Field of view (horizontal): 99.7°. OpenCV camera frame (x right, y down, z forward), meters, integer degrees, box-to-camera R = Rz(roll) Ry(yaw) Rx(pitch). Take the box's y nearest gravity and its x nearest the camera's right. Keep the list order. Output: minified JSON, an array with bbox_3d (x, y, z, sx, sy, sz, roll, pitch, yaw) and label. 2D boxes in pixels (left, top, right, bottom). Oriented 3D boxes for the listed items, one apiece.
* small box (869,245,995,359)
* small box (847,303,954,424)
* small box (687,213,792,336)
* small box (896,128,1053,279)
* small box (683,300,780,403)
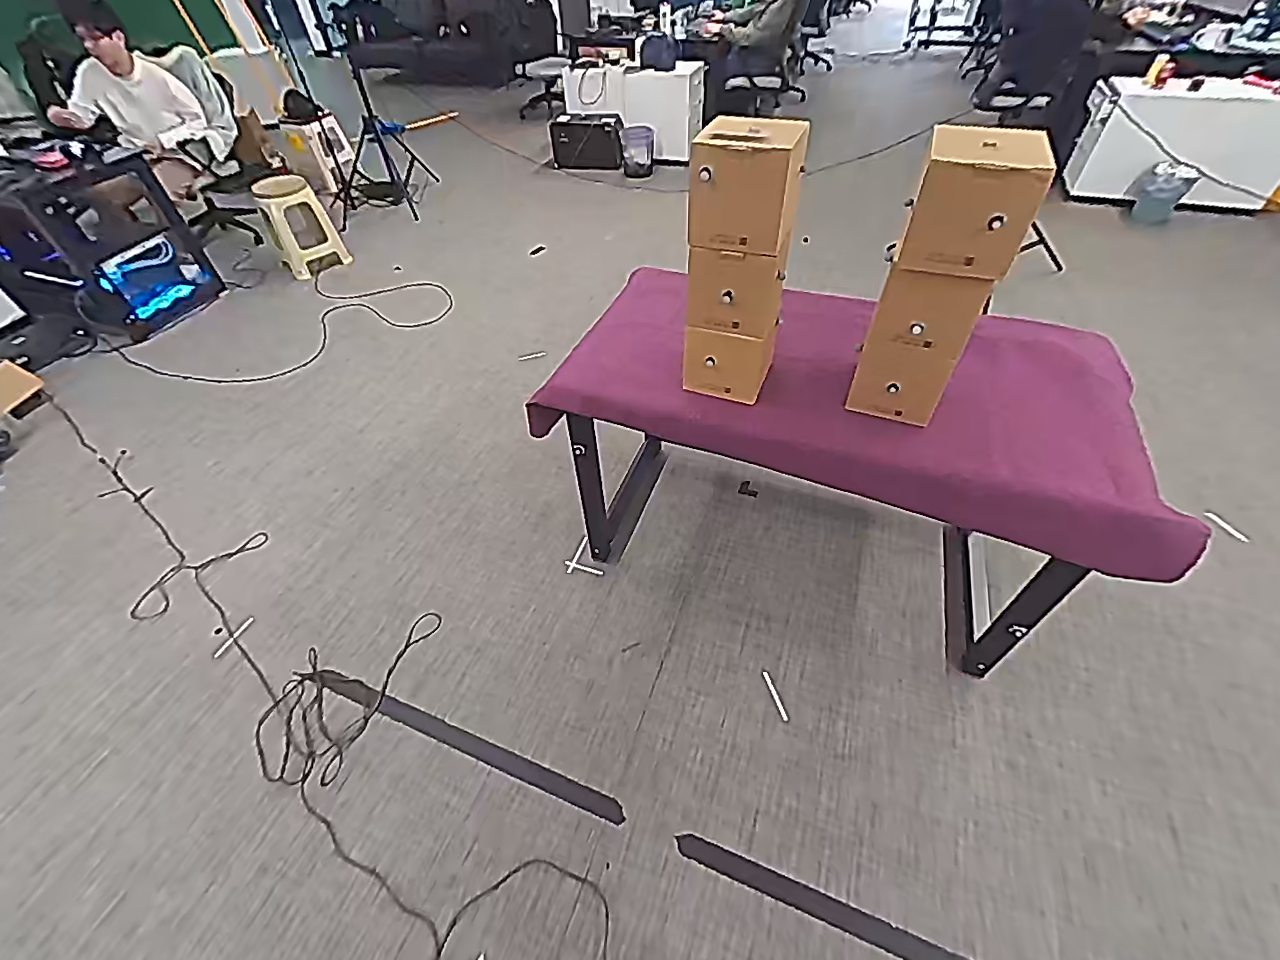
[{"bbox_3d":[0.545,-0.357,1.016,0.168,0.176,0.179,17,51,18],"label":"small box"},{"bbox_3d":[0.547,-0.244,1.136,0.168,0.176,0.179,17,50,17],"label":"small box"},{"bbox_3d":[0.196,-0.412,1.086,0.168,0.176,0.179,14,49,14],"label":"small box"},{"bbox_3d":[0.532,-0.451,0.883,0.168,0.176,0.179,15,49,15],"label":"small box"},{"bbox_3d":[0.201,-0.295,1.202,0.168,0.176,0.179,16,49,16],"label":"small box"}]
